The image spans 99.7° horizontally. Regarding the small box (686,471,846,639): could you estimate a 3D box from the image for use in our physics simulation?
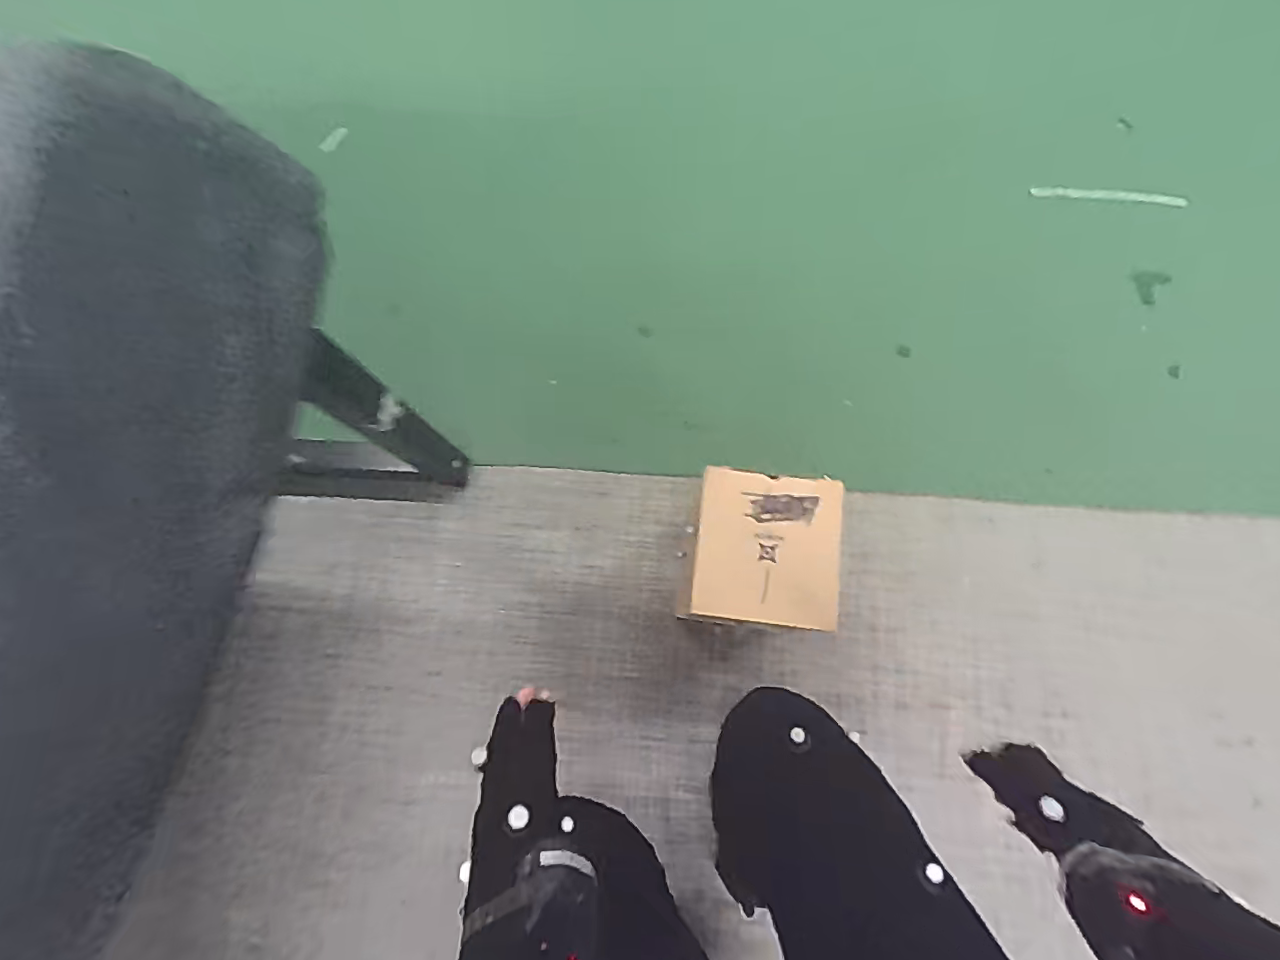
[{"bbox_3d":[0.153,0.103,0.702,0.168,0.176,0.179,8,76,4],"label":"small box"}]

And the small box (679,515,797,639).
[{"bbox_3d":[0.155,0.148,0.861,0.168,0.176,0.179,8,77,4],"label":"small box"}]
